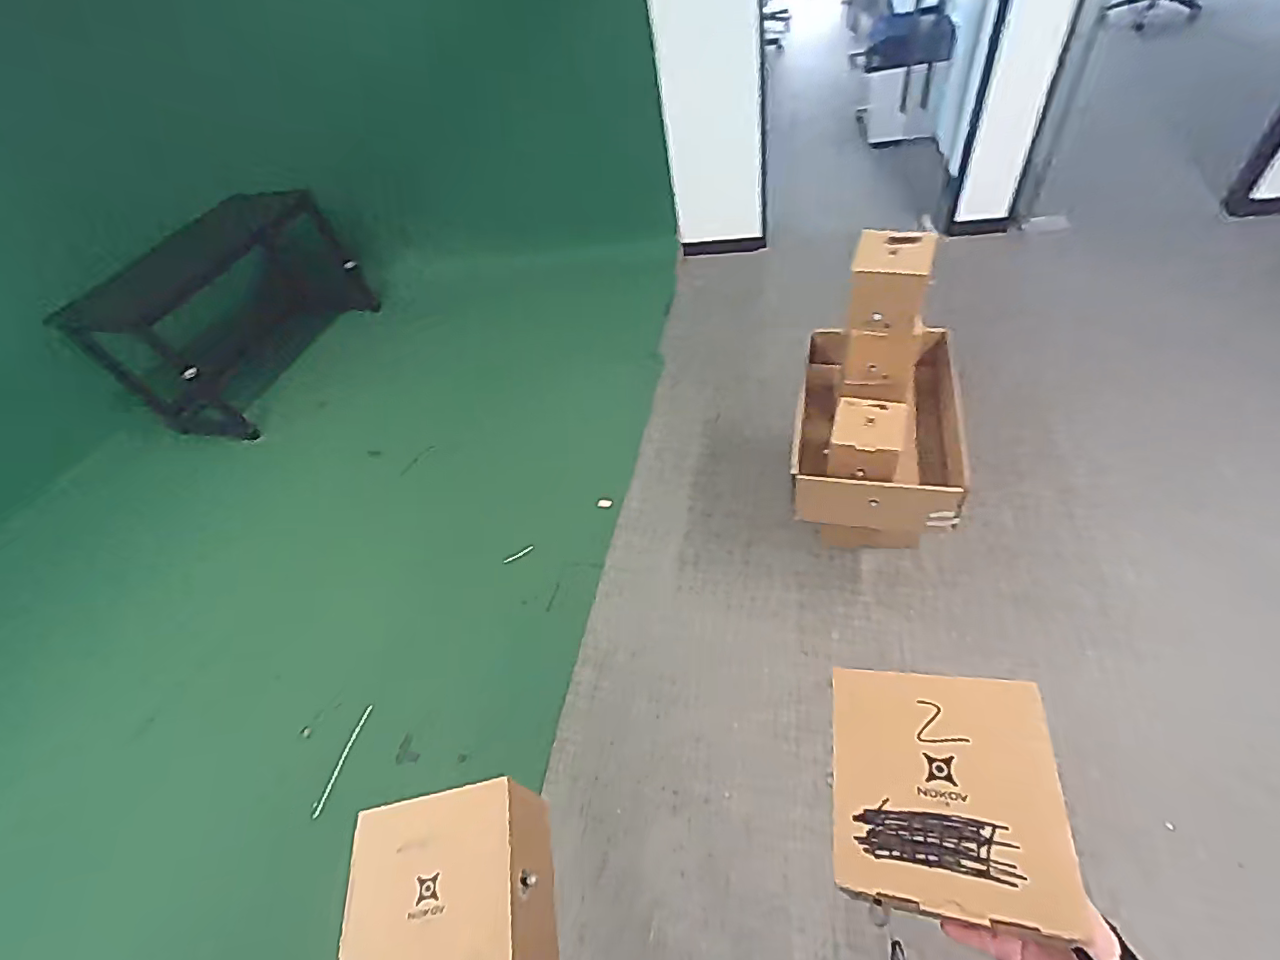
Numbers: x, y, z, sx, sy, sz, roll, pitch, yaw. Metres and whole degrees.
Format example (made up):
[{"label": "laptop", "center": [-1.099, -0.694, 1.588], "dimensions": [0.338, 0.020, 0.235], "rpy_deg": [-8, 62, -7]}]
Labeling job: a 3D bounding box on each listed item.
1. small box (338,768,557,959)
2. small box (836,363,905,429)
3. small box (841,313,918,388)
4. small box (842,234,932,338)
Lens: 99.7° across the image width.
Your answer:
[{"label": "small box", "center": [-0.191, 0.439, 0.585], "dimensions": [0.168, 0.176, 0.179], "rpy_deg": [-12, 49, 0]}, {"label": "small box", "center": [0.664, -0.270, 1.569], "dimensions": [0.168, 0.176, 0.179], "rpy_deg": [4, 53, 18]}, {"label": "small box", "center": [0.632, -0.370, 1.445], "dimensions": [0.168, 0.176, 0.179], "rpy_deg": [4, 53, 16]}, {"label": "small box", "center": [0.598, -0.476, 1.324], "dimensions": [0.168, 0.176, 0.179], "rpy_deg": [12, 56, 22]}]
